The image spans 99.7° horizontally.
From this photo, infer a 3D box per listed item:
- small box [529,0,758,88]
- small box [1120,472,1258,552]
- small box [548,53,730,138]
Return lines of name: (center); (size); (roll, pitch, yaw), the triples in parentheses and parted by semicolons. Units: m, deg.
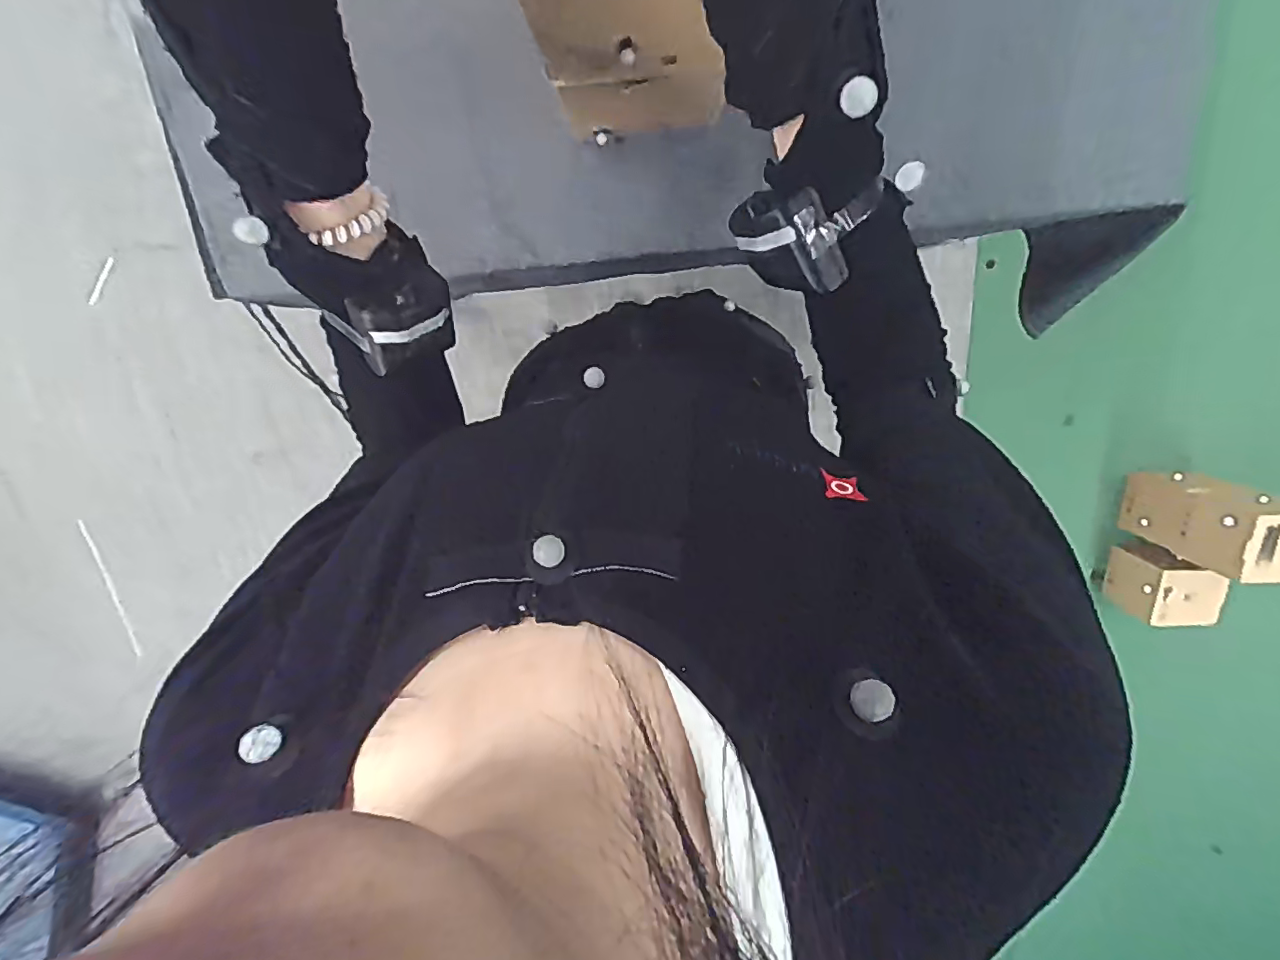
small box: (-0.005, -0.419, 0.384); (0.168, 0.176, 0.179); (-5, 107, 2)
small box: (1.436, 0.081, 1.429); (0.179, 0.176, 0.168); (0, 107, 1)
small box: (-0.004, -0.465, 0.539); (0.168, 0.176, 0.179); (-5, 105, 2)
